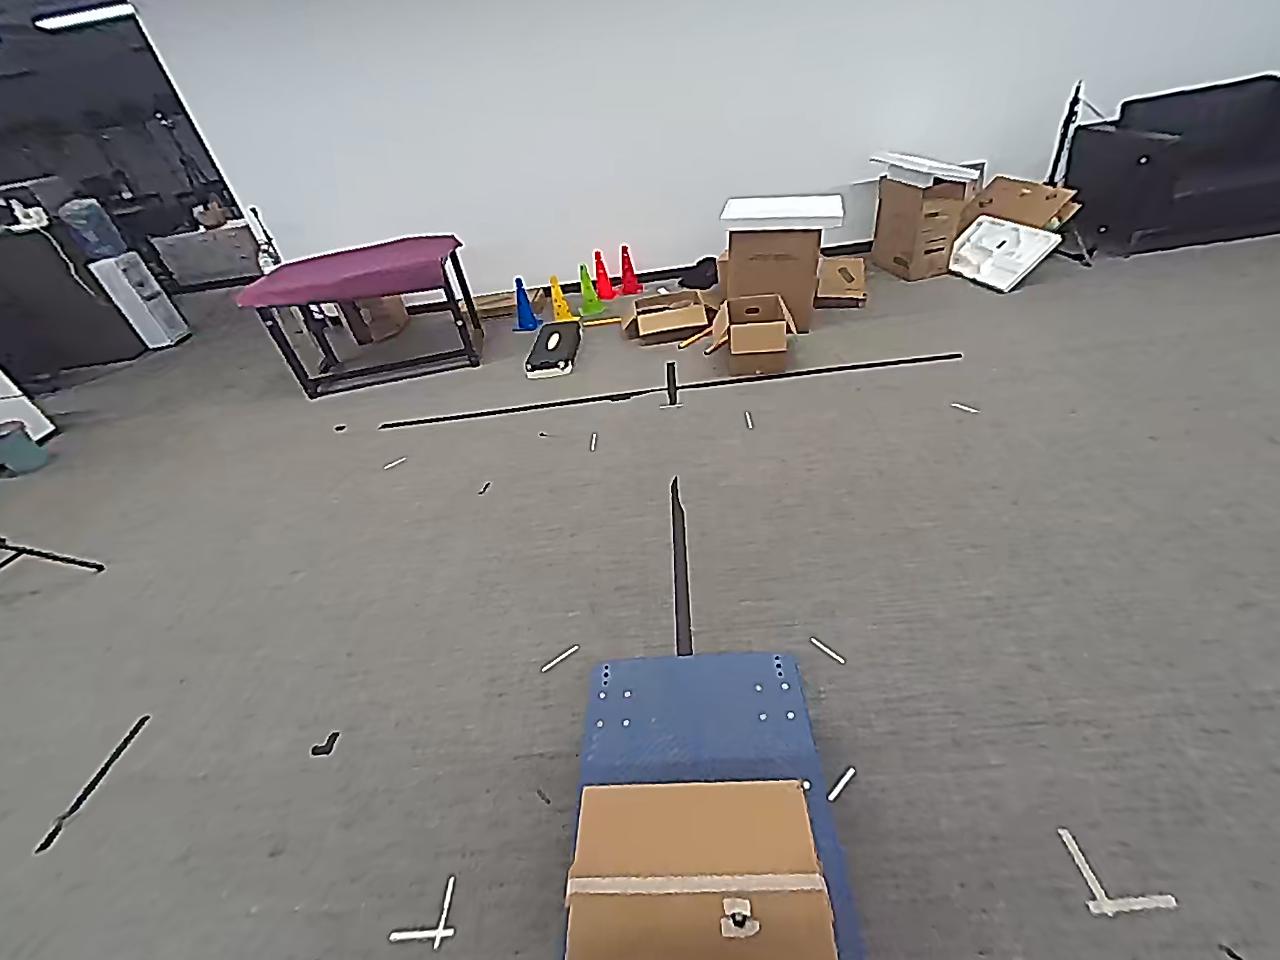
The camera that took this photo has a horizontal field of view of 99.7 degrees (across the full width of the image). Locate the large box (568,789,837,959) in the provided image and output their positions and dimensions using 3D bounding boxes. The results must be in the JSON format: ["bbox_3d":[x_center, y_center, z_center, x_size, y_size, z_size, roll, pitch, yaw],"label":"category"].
[{"bbox_3d":[0.104,0.777,0.943,0.408,0.320,0.320,-5,38,5],"label":"large box"}]
